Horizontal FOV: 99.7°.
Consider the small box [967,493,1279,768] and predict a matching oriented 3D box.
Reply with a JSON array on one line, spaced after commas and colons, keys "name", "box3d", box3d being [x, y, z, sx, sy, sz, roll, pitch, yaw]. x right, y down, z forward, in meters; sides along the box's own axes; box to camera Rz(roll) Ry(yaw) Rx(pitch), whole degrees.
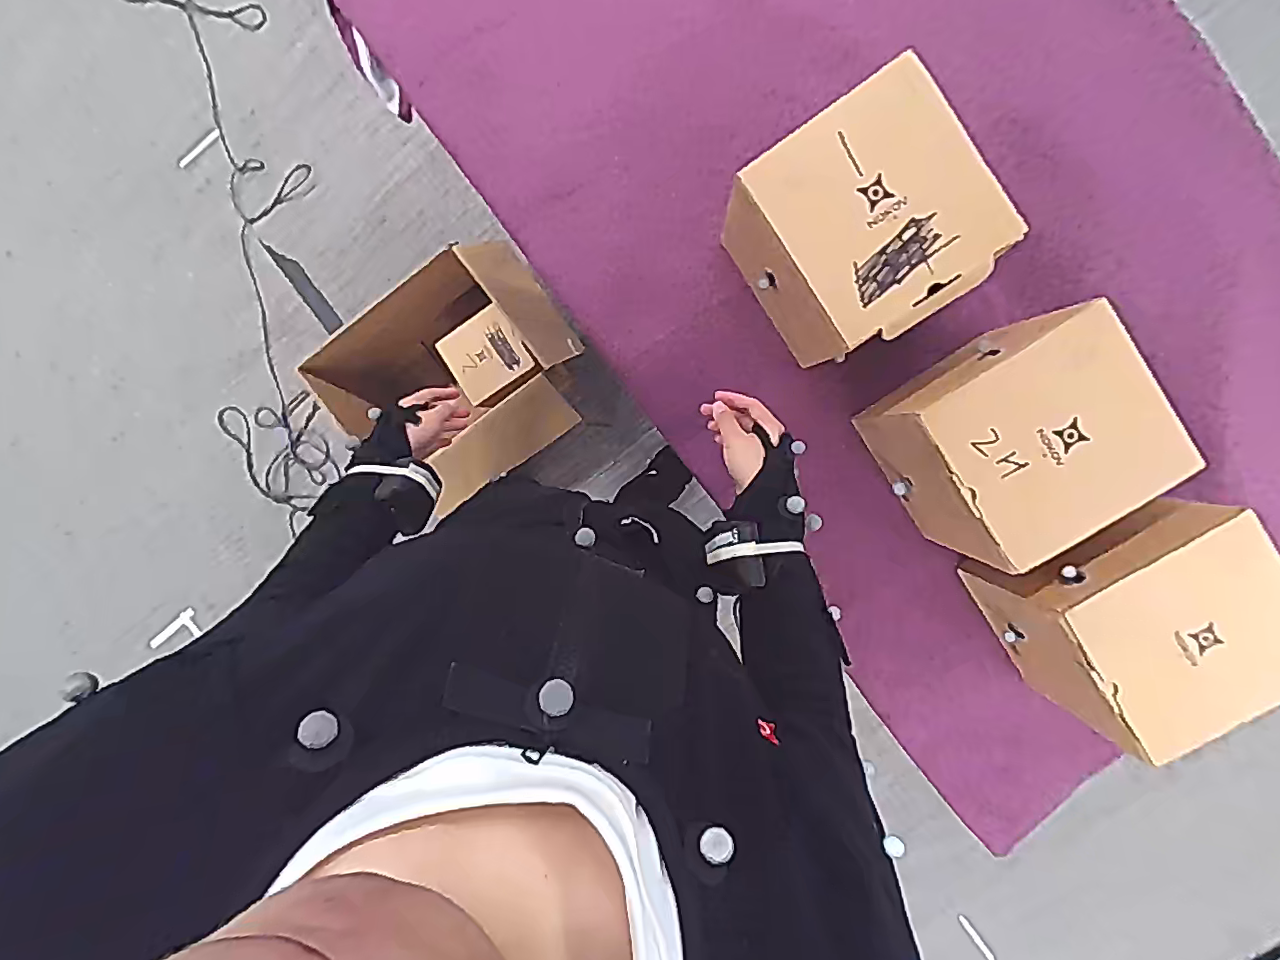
[{"name": "small box", "box3d": [0.476, 0.128, 0.532, 0.179, 0.176, 0.168, -33, 92, 6]}]

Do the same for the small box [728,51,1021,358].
[{"name": "small box", "box3d": [0.200, -0.232, 0.516, 0.168, 0.176, 0.179, -33, 91, 7]}]
